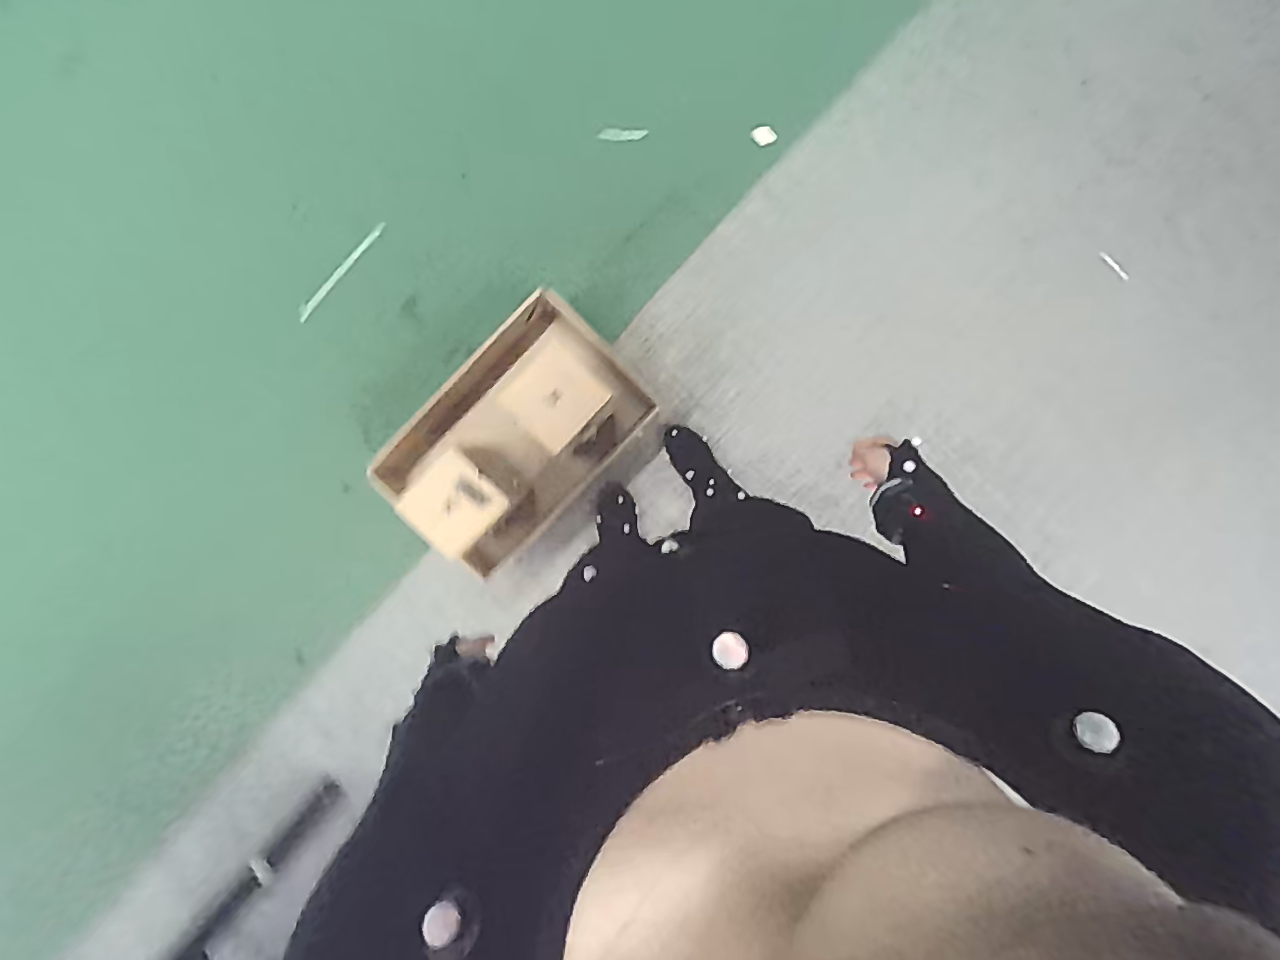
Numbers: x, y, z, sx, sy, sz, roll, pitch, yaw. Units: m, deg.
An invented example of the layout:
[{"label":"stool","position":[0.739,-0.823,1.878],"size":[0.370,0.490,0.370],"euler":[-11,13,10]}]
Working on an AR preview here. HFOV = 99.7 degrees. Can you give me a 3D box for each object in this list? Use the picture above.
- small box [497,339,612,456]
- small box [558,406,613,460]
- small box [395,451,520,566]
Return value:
[{"label":"small box","position":[-0.174,-0.169,1.156],"size":[0.168,0.176,0.179],"euler":[42,91,-6]},{"label":"small box","position":[-0.180,-0.170,1.319],"size":[0.168,0.176,0.179],"euler":[-45,96,1]},{"label":"small box","position":[-0.375,0.052,1.154],"size":[0.168,0.176,0.179],"euler":[44,91,-4]}]
